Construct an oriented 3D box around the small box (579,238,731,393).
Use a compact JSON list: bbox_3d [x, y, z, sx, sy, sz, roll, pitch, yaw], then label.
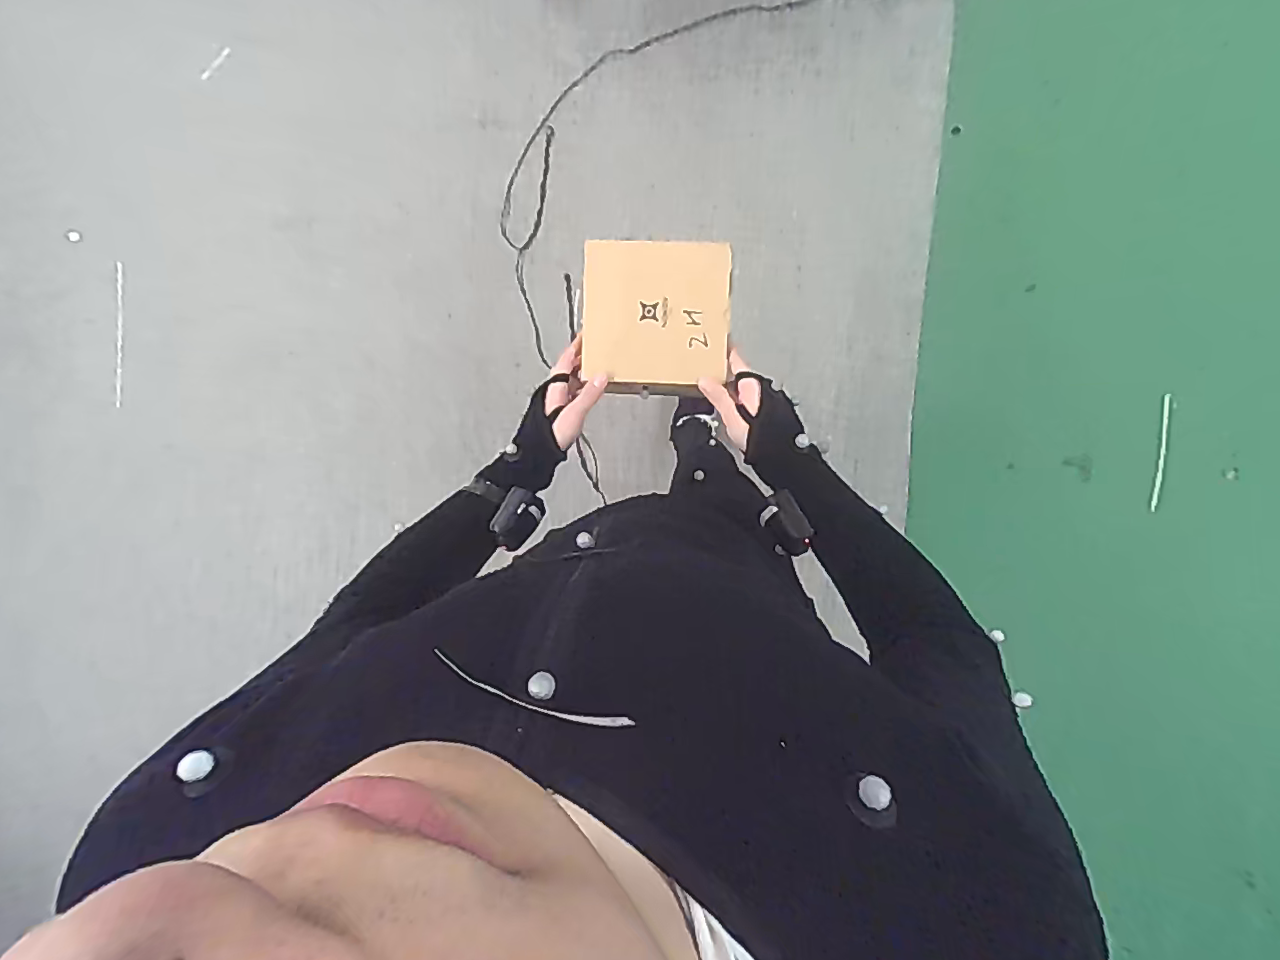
[{"bbox_3d":[0.020,-0.206,0.719,0.179,0.176,0.168,2,95,1],"label":"small box"}]
